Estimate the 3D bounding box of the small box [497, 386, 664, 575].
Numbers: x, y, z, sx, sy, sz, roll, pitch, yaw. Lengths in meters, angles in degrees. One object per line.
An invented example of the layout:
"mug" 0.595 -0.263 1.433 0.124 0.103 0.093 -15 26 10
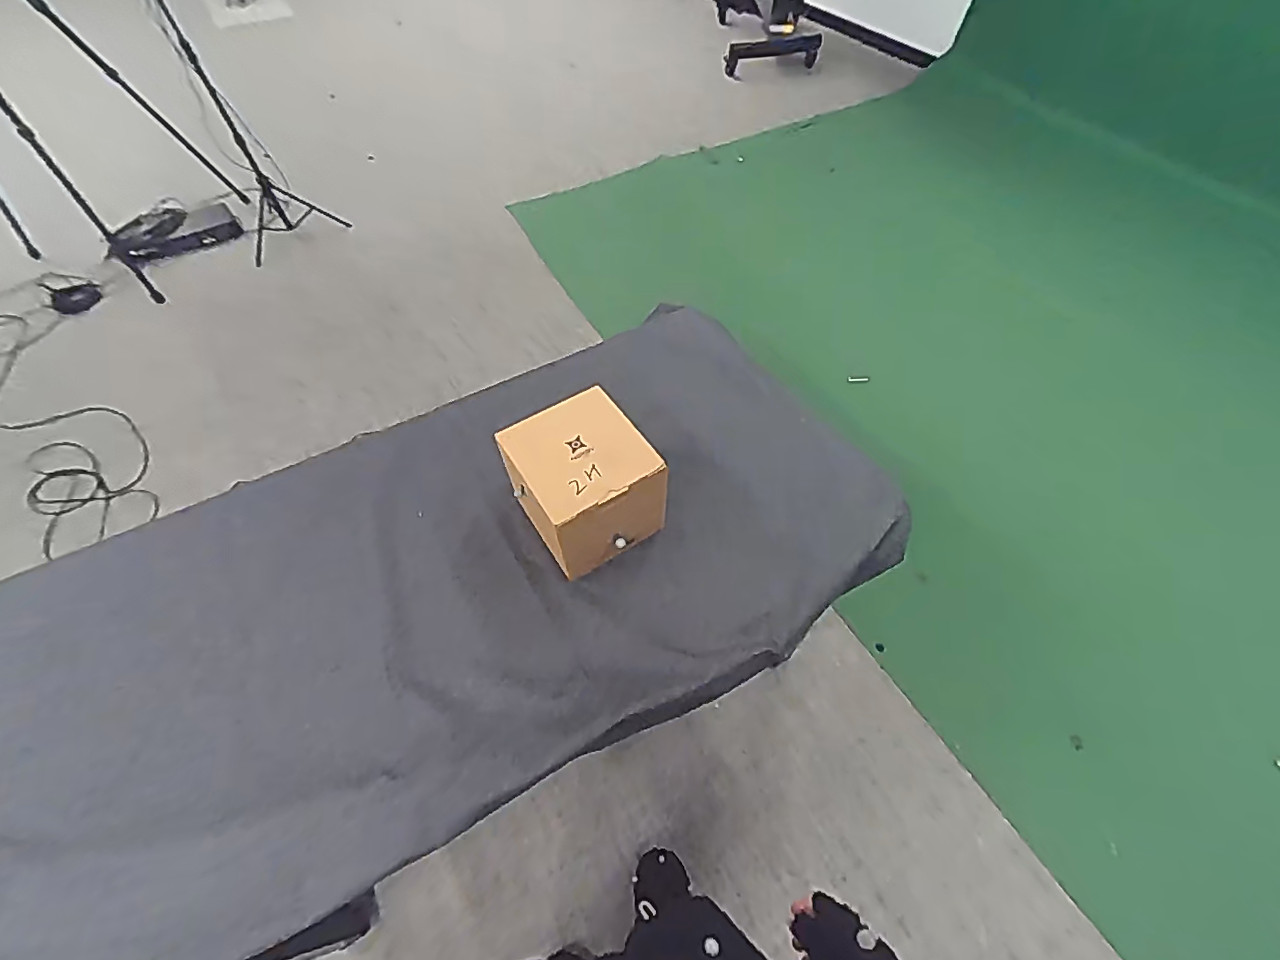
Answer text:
"small box" -0.083 0.004 0.779 0.168 0.176 0.179 -29 61 -18
